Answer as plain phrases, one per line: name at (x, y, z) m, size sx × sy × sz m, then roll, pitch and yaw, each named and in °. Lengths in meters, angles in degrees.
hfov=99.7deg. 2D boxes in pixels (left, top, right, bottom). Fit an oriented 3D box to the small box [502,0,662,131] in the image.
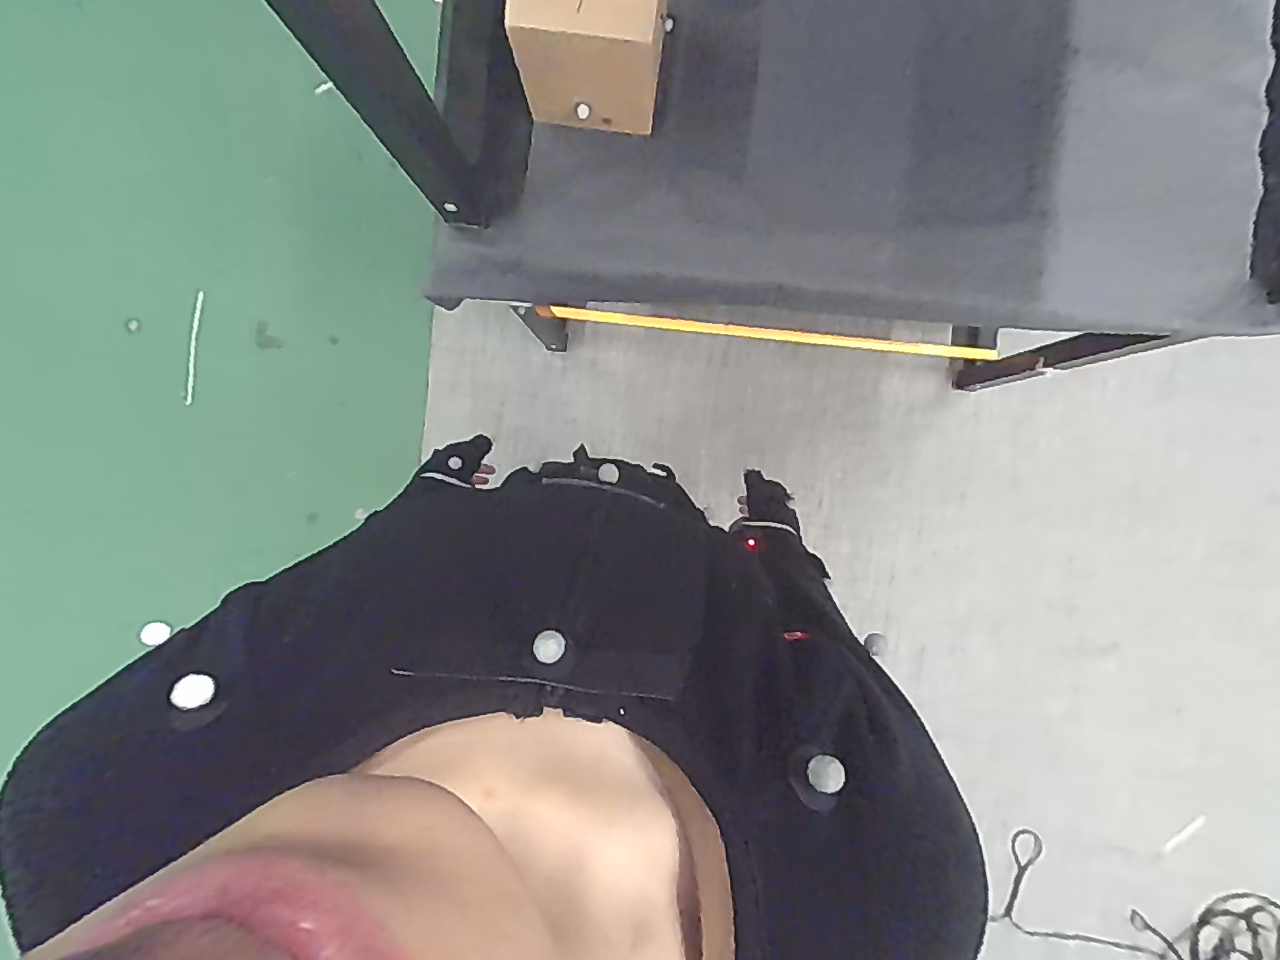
small box at (-0.060, -0.574, 0.663) m, size 0.168 × 0.176 × 0.179 m, roll 7°, pitch 92°, yaw 0°
